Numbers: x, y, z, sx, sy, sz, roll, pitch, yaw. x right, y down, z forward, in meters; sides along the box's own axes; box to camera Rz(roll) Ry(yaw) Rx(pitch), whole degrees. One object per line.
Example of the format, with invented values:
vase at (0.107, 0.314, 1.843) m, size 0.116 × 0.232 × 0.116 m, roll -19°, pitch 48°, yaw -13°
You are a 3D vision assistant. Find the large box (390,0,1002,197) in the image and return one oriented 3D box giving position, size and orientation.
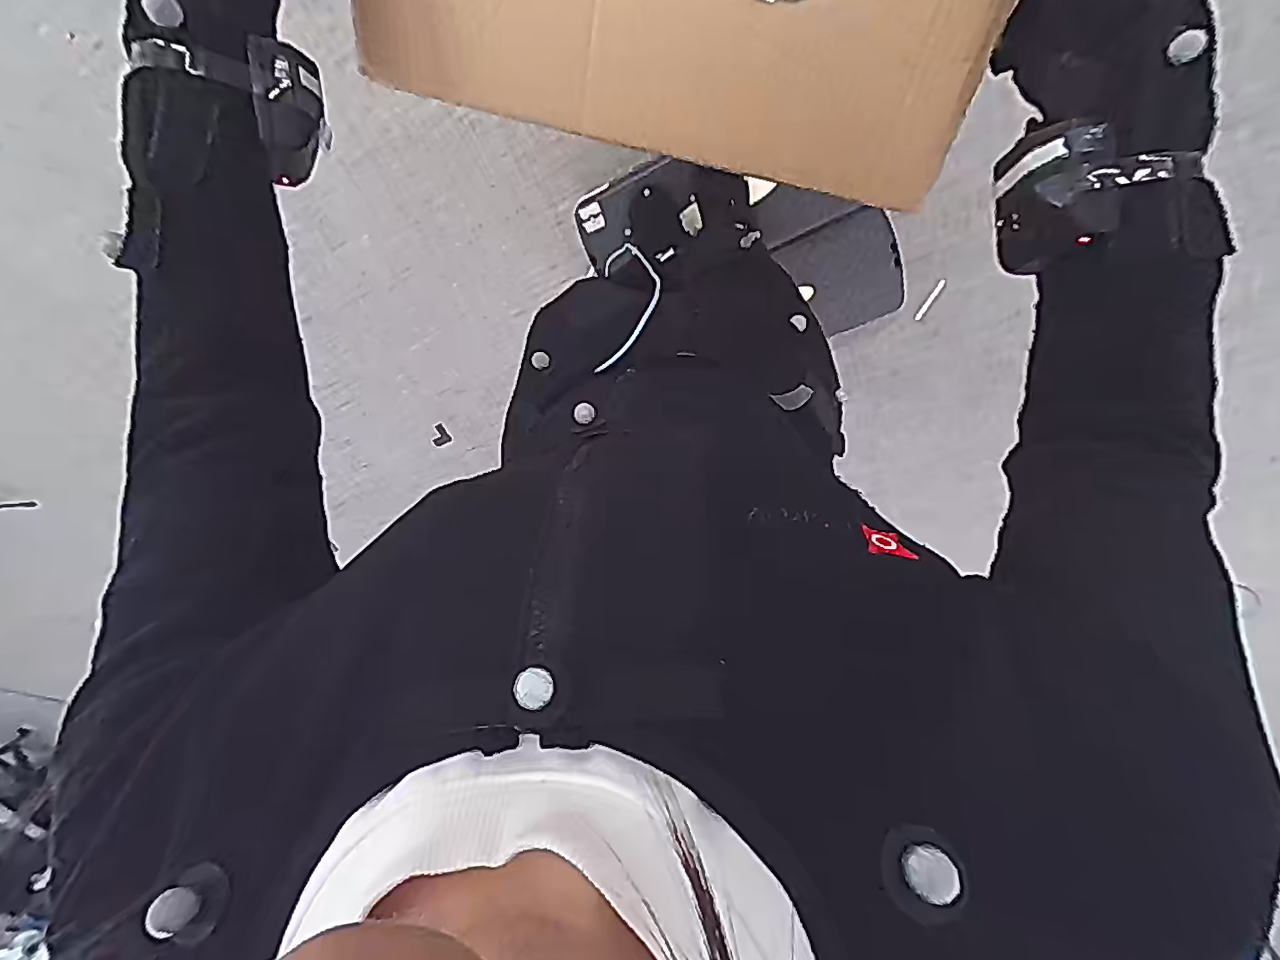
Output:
large box at (0.063, -0.452, 0.433) m, size 0.408 × 0.320 × 0.320 m, roll 16°, pitch 125°, yaw 3°

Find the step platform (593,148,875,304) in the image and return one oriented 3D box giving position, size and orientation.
step platform at (0.233, -0.681, 1.248) m, size 0.684 × 0.204 × 0.286 m, roll -21°, pitch 118°, yaw 19°
